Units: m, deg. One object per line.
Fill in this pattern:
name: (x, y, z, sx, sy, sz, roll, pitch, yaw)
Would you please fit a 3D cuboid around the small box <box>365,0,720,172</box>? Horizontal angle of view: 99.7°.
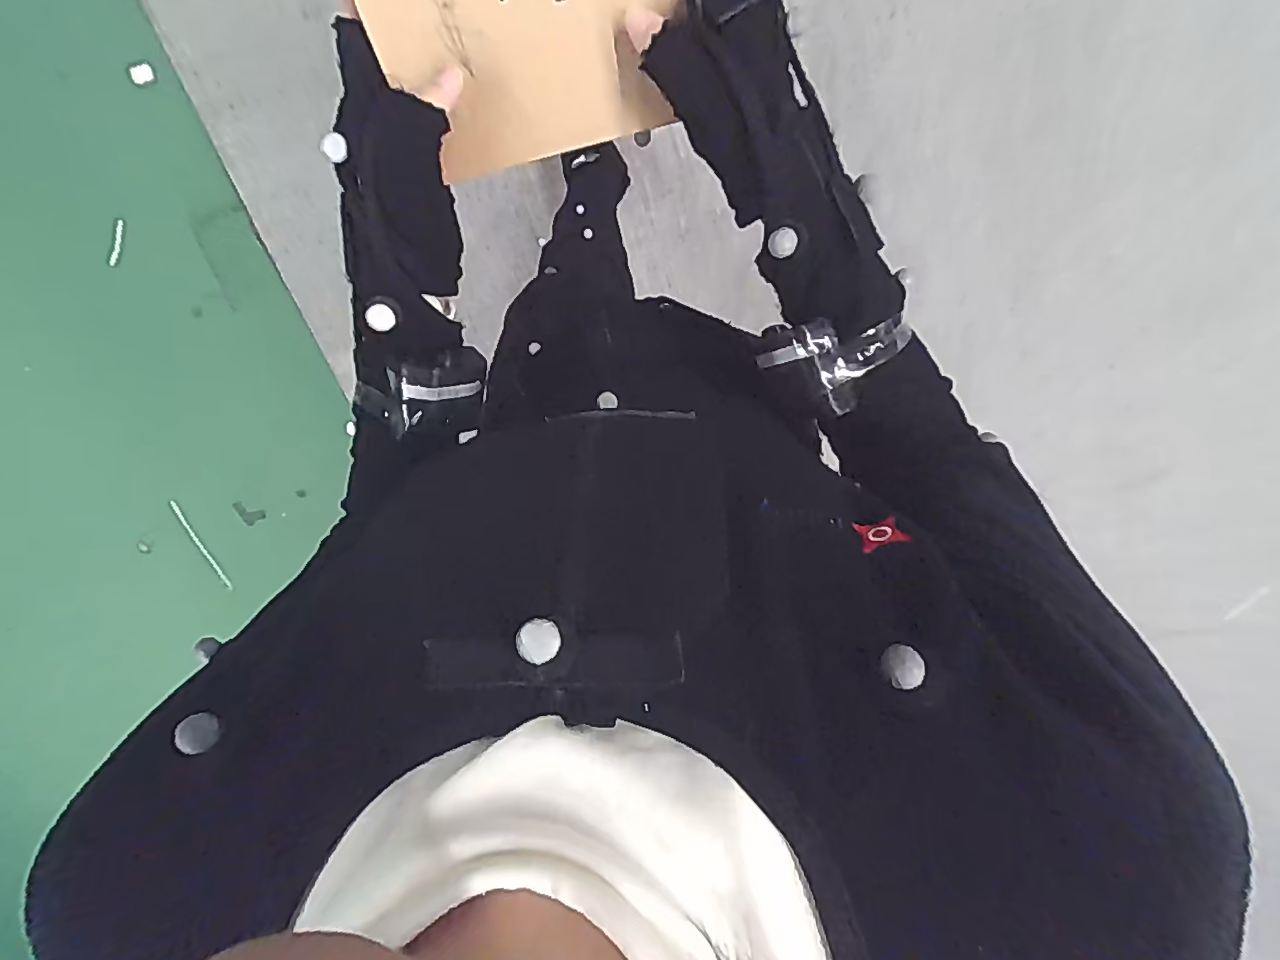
small box: (-0.059, -0.311, 0.328, 0.179, 0.176, 0.168, -11, 127, 8)
